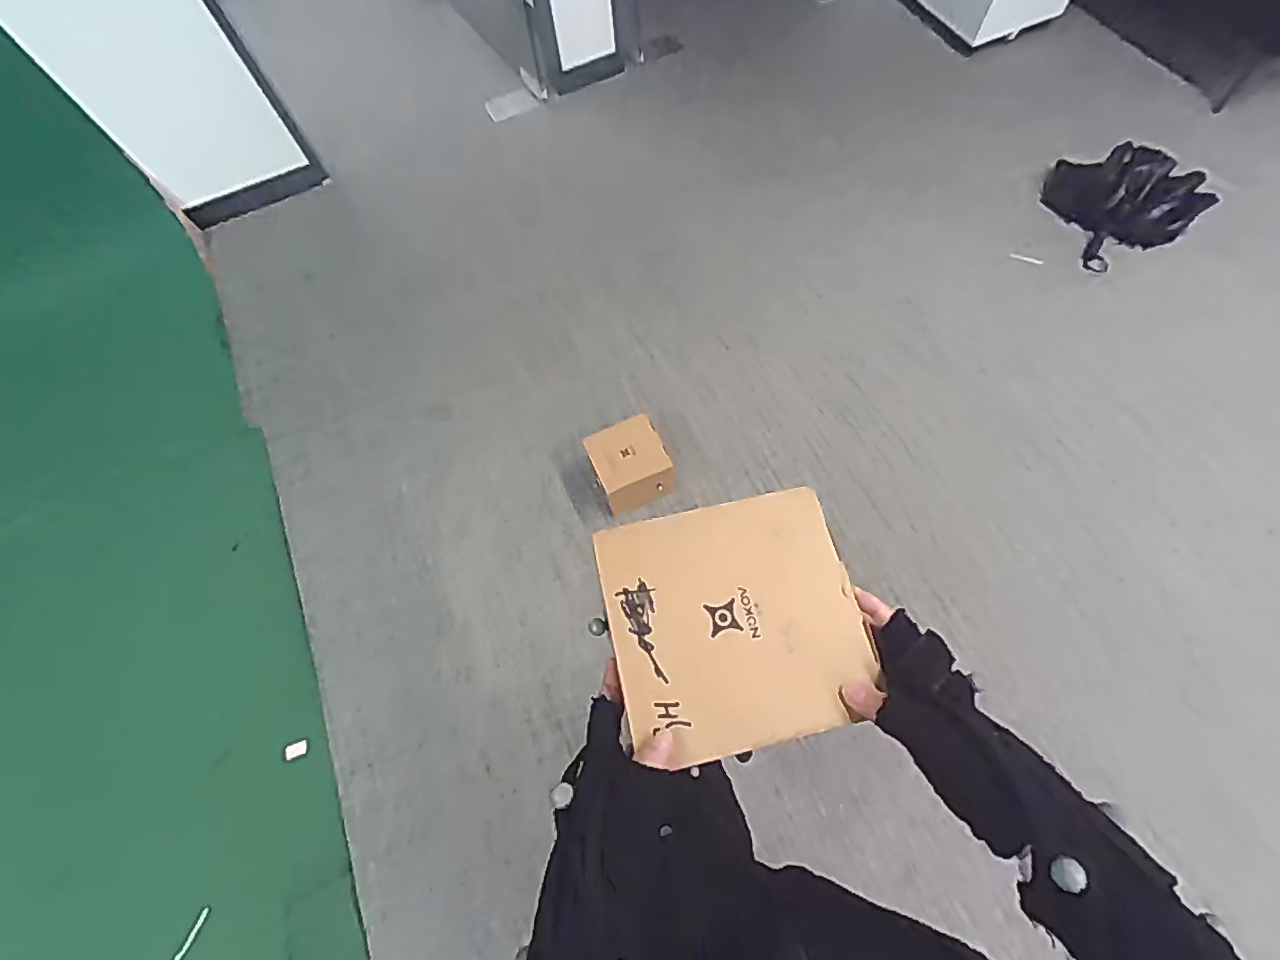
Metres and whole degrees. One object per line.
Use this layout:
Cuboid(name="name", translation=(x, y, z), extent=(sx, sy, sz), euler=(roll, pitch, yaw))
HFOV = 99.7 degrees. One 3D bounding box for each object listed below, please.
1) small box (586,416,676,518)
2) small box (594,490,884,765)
Cuboid(name="small box", translation=(-0.019, -0.028, 1.380), extent=(0.179, 0.176, 0.168), euler=(-25, 67, -5))
Cuboid(name="small box", translation=(0.063, 0.127, 0.457), extent=(0.179, 0.176, 0.168), euler=(-11, 66, -5))
